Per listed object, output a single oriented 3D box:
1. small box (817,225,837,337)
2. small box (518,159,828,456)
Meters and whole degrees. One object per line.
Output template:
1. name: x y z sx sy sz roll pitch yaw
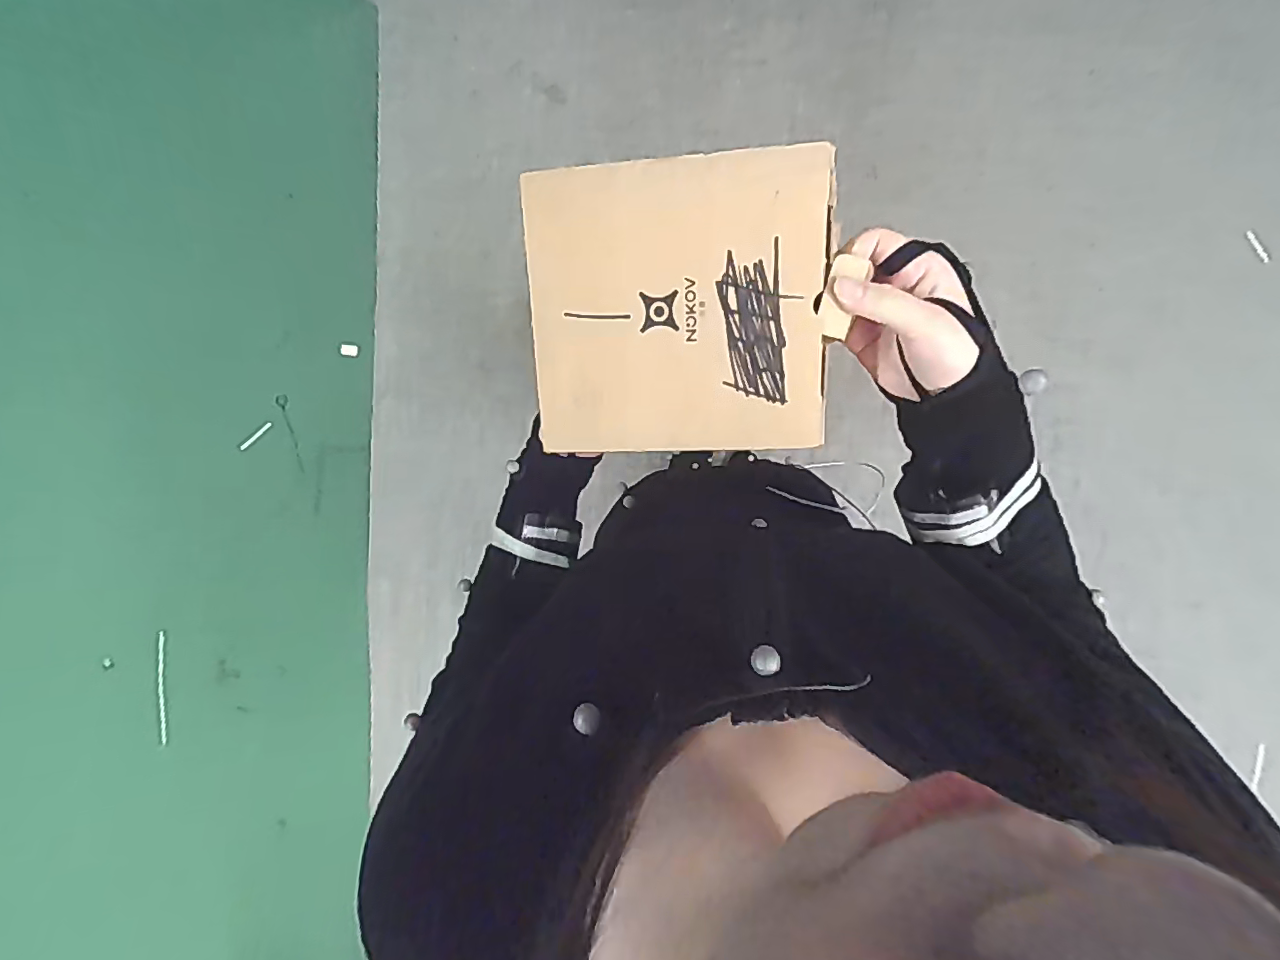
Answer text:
1. small box: 0.217 -0.322 0.920 0.179 0.176 0.168 3 94 4
2. small box: 0.027 -0.115 0.395 0.179 0.176 0.168 1 104 9
